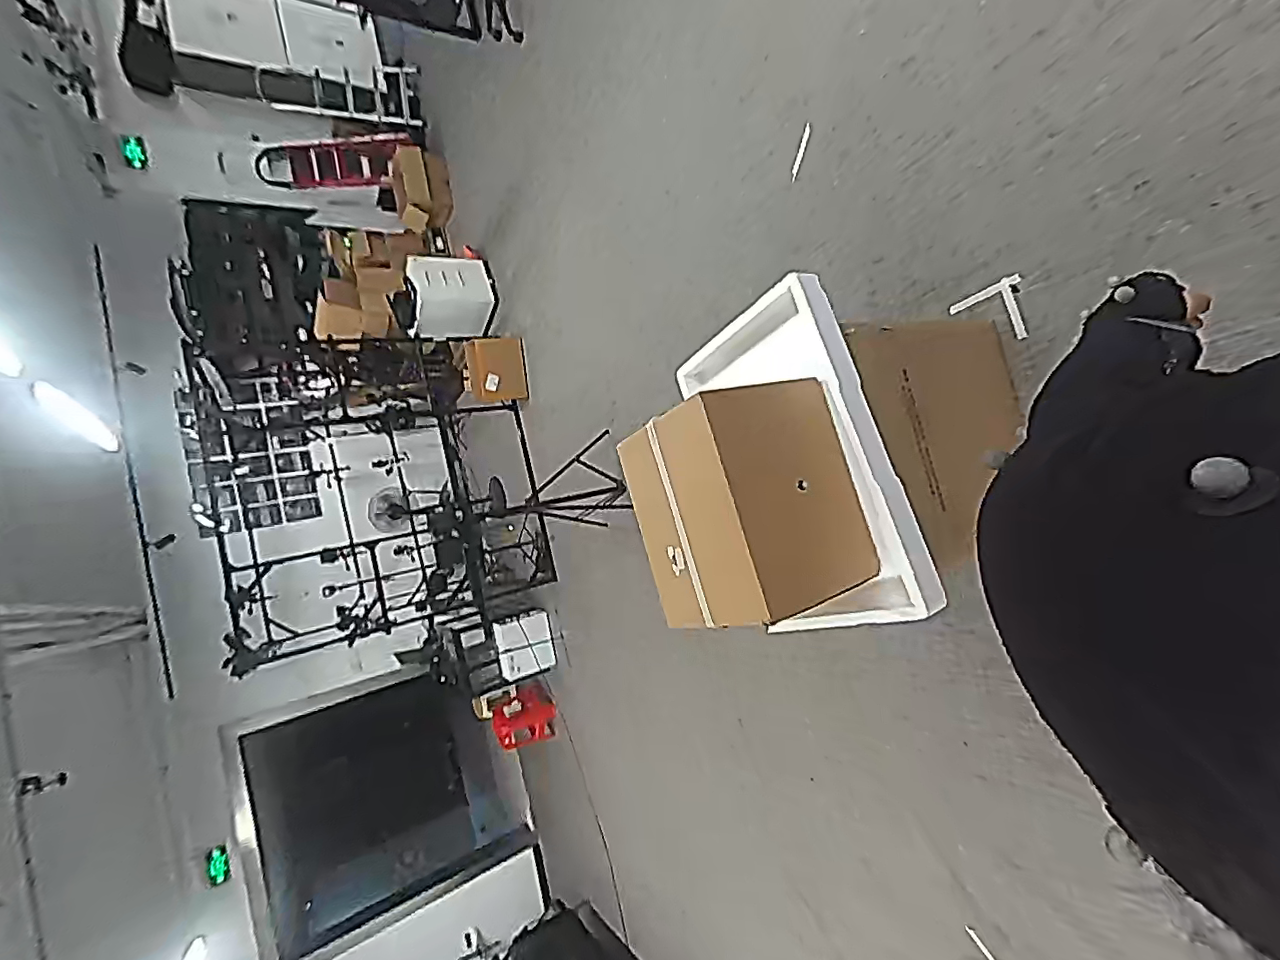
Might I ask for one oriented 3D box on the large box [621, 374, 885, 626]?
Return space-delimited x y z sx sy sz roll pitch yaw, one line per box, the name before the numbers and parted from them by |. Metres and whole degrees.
large box | 0.212 0.044 1.083 0.320 0.320 0.408 -27 78 58
